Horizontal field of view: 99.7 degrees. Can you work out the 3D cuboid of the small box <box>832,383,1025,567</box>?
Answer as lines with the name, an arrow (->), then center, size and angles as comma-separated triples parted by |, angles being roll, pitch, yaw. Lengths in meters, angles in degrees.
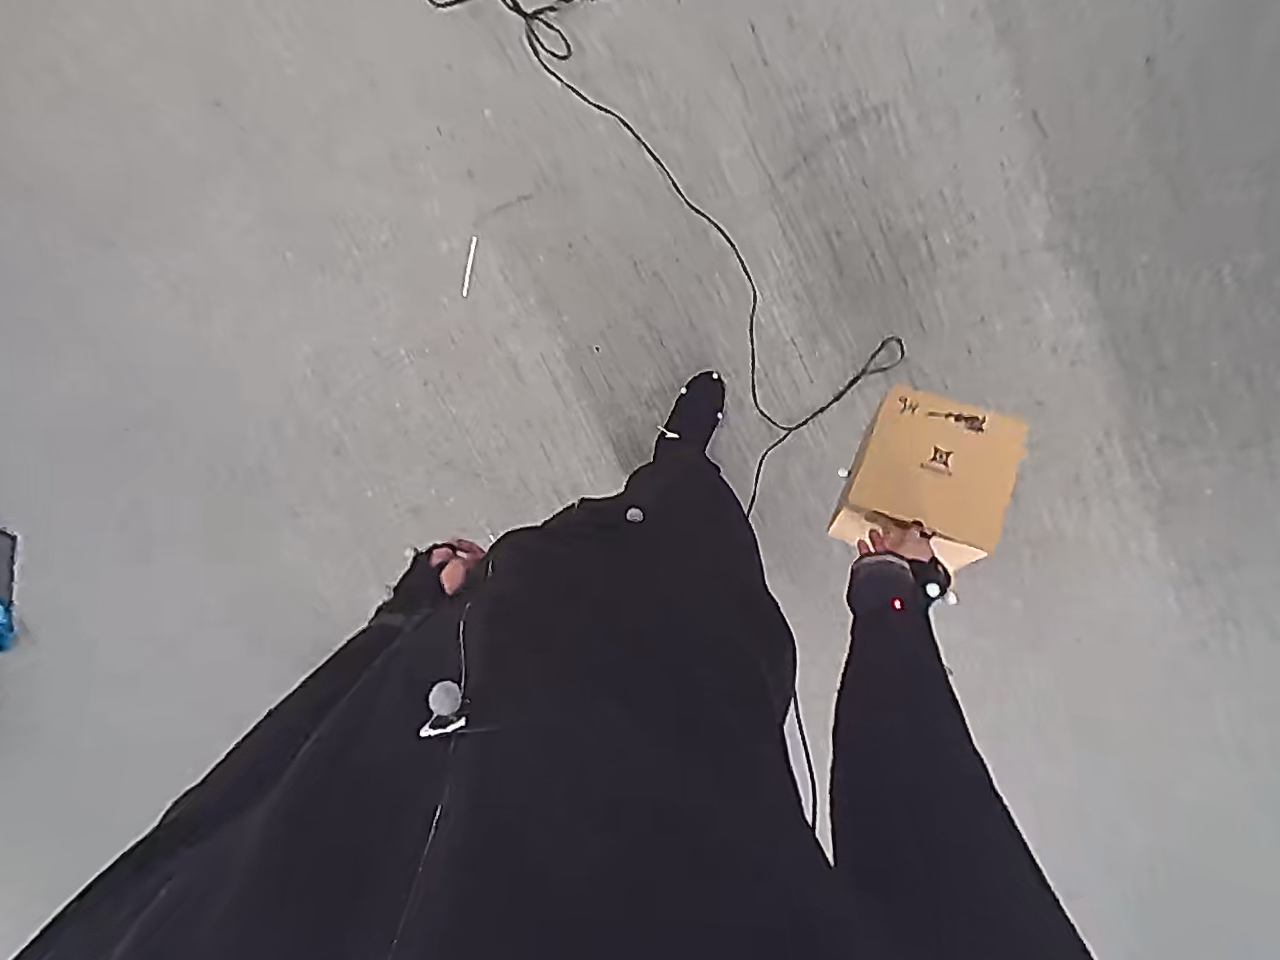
small box -> 0.373, 0.003, 0.733 | 0.168, 0.176, 0.179 | 22, 77, 16
